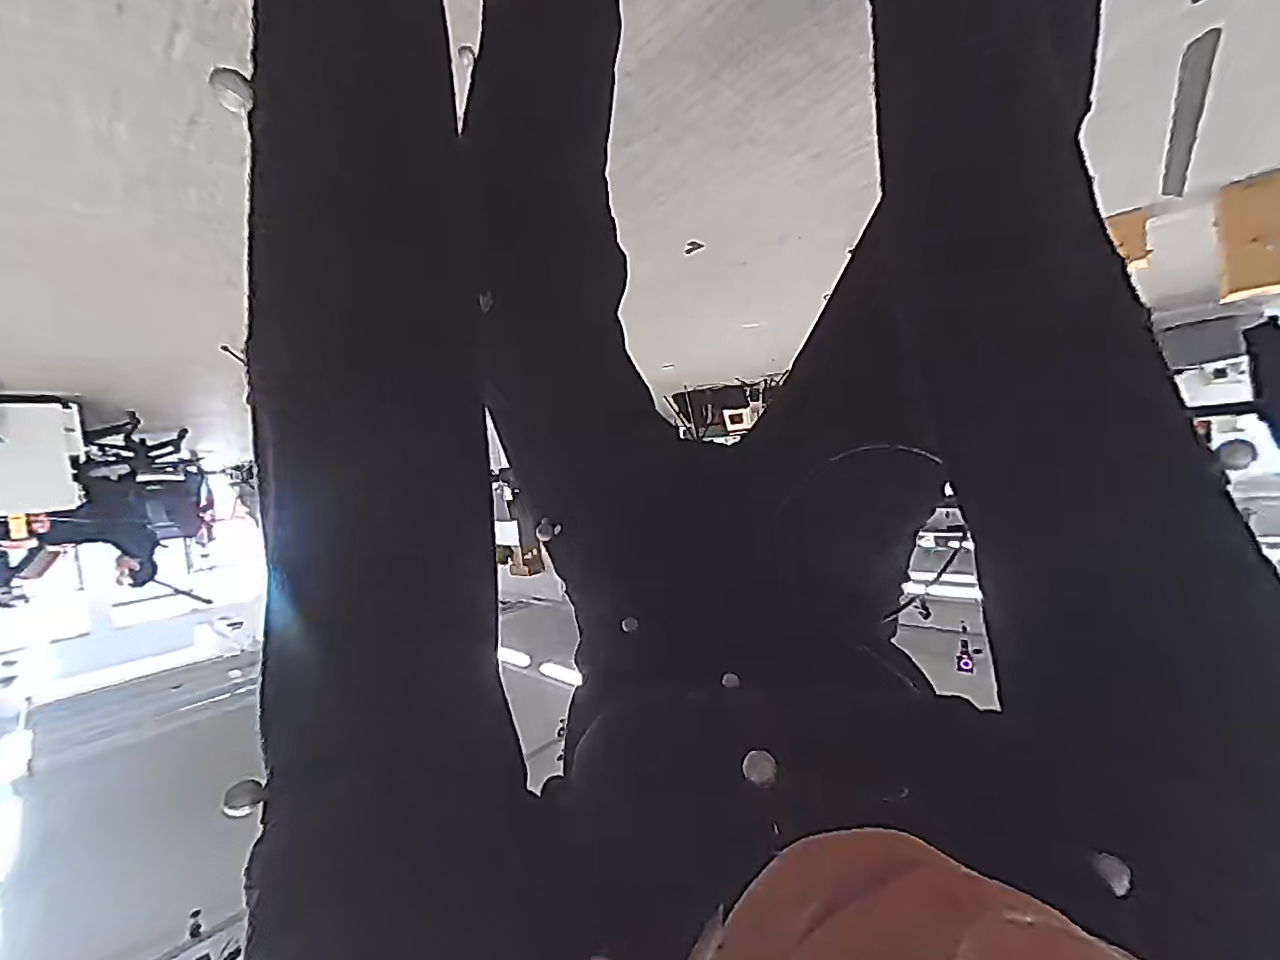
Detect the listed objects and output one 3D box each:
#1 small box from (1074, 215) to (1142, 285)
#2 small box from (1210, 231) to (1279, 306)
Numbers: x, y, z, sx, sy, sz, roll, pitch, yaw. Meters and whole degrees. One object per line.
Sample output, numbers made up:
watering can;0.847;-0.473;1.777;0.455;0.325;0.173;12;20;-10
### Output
small box;1.651;-0.808;1.905;0.168;0.176;0.179;-4;-177;45
small box;1.914;-0.661;1.690;0.168;0.176;0.179;-5;-179;41
